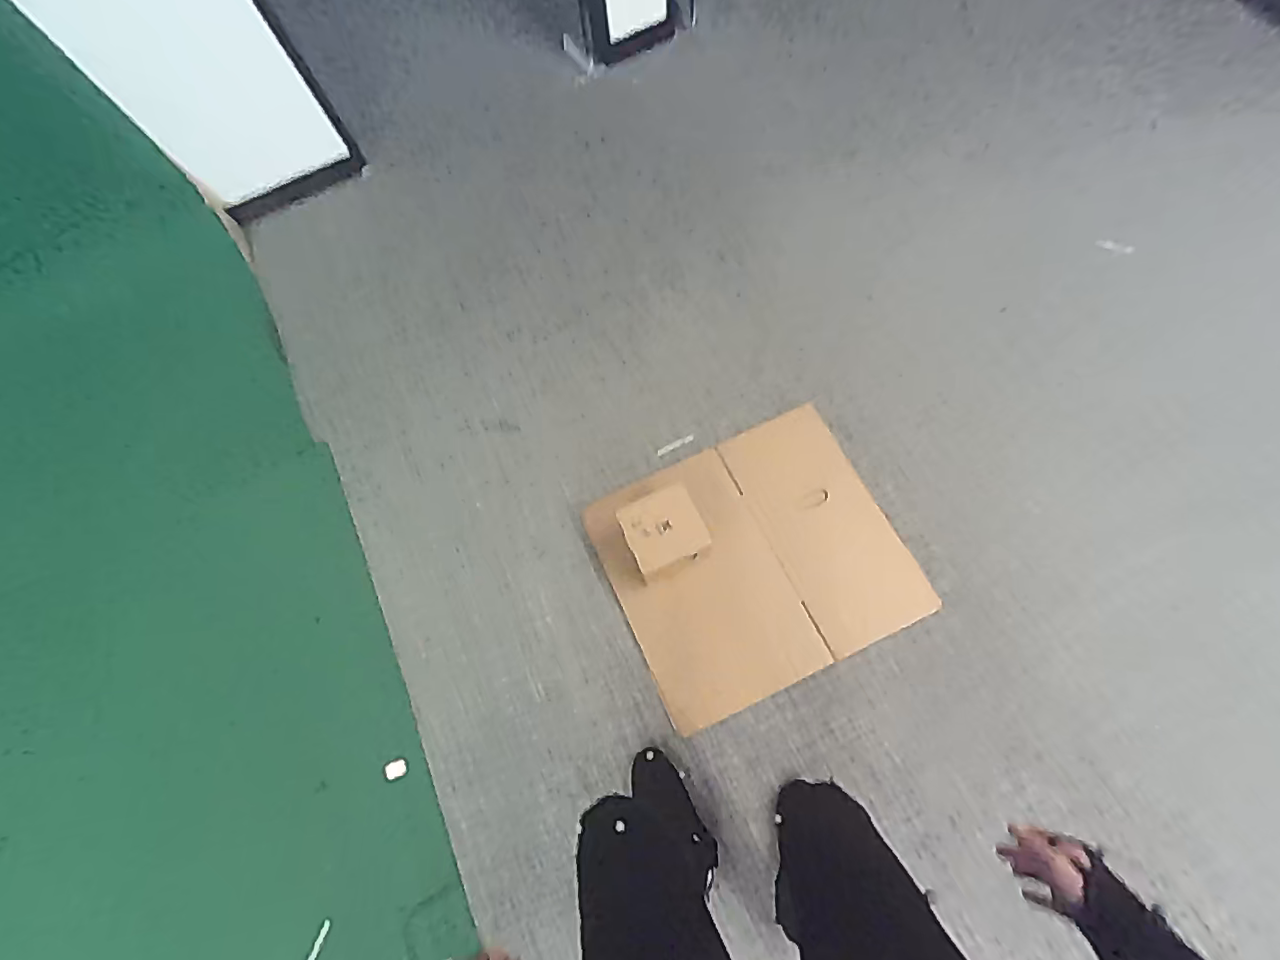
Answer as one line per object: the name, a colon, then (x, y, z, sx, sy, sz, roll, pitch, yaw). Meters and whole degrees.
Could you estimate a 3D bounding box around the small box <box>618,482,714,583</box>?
small box: (0.062, 0.131, 1.298, 0.179, 0.176, 0.168, -24, 71, -3)
